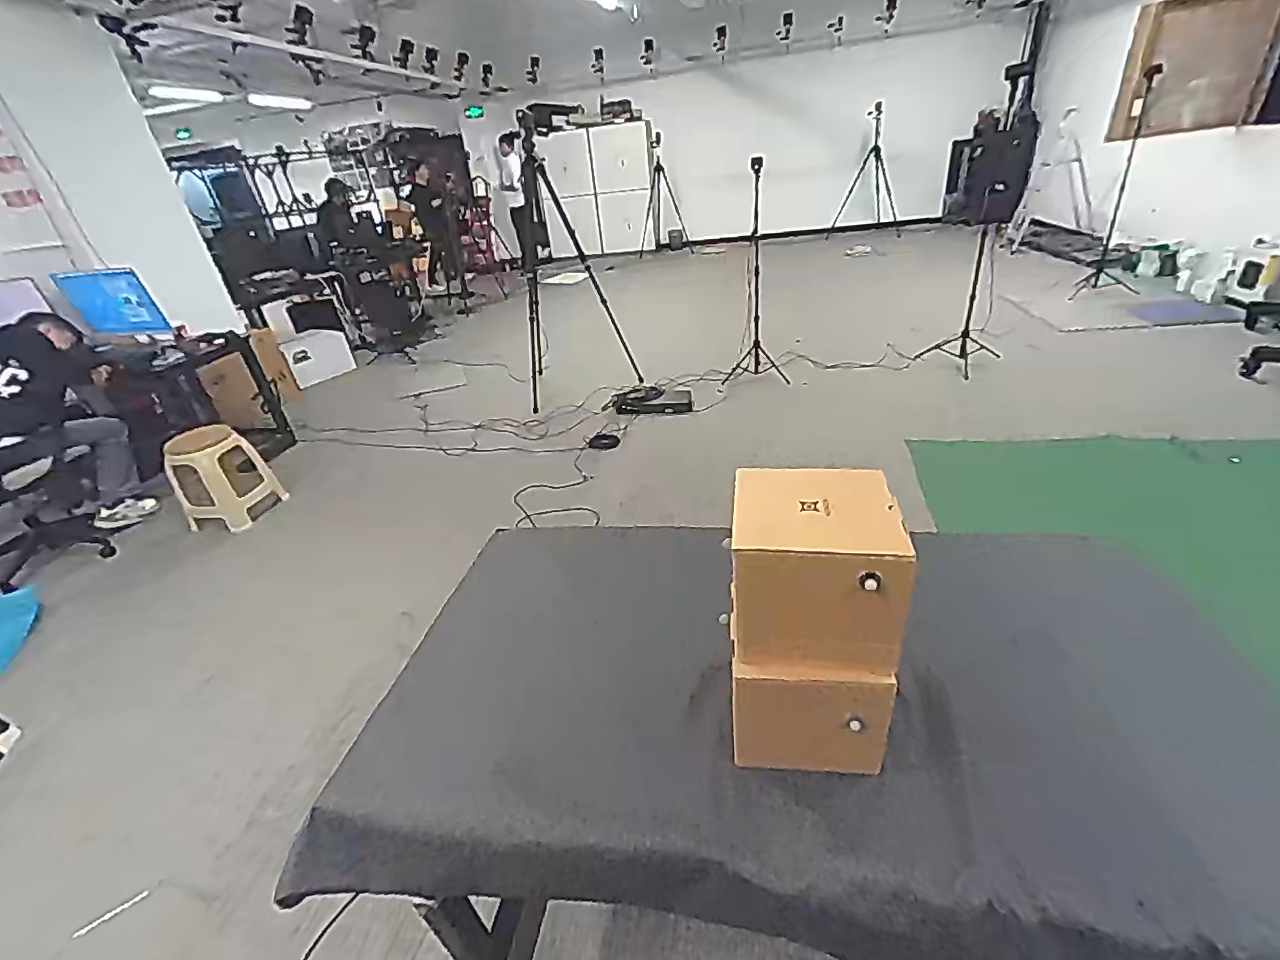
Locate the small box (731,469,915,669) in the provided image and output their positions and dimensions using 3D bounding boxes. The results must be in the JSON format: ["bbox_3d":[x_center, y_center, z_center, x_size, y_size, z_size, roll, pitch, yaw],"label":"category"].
[{"bbox_3d":[0.199,0.099,0.632,0.179,0.176,0.168,1,31,11],"label":"small box"}]
